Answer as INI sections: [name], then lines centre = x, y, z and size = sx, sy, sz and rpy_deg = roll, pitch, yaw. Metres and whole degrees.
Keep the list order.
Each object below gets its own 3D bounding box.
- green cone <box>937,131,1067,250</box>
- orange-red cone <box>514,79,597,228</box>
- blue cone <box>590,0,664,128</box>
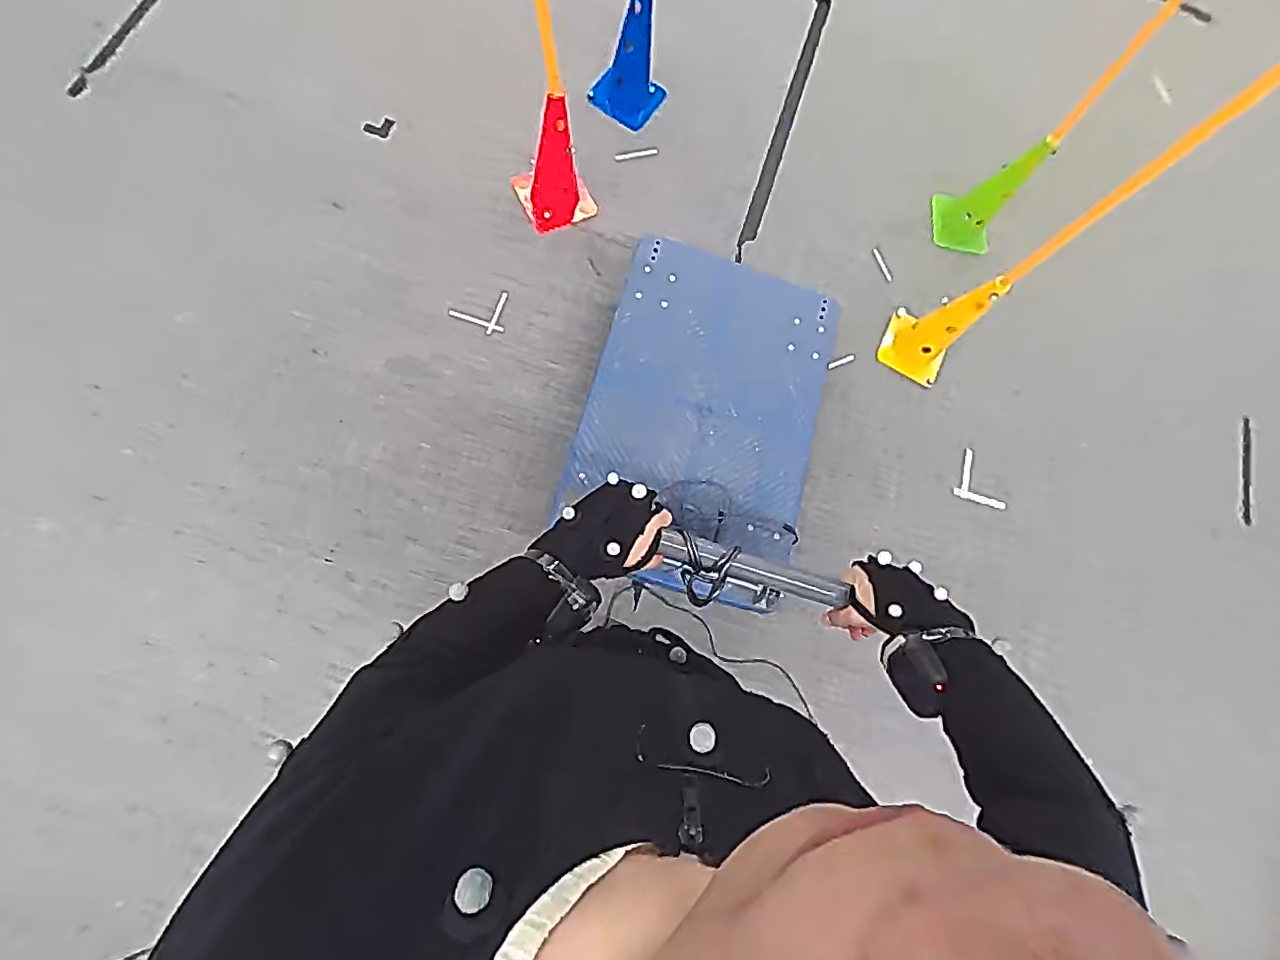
[green cone]
centre = 1.112, -0.903, 1.641
size = 0.200, 0.368, 0.202
rpy_deg = 6, 78, -8
[orange-red cone]
centre = -0.218, -0.879, 1.420
size = 0.199, 0.360, 0.198
rpy_deg = -25, 84, -15
[blue cone]
centre = -0.014, -1.251, 1.550
size = 0.193, 0.380, 0.192
rpy_deg = 34, 76, -1
